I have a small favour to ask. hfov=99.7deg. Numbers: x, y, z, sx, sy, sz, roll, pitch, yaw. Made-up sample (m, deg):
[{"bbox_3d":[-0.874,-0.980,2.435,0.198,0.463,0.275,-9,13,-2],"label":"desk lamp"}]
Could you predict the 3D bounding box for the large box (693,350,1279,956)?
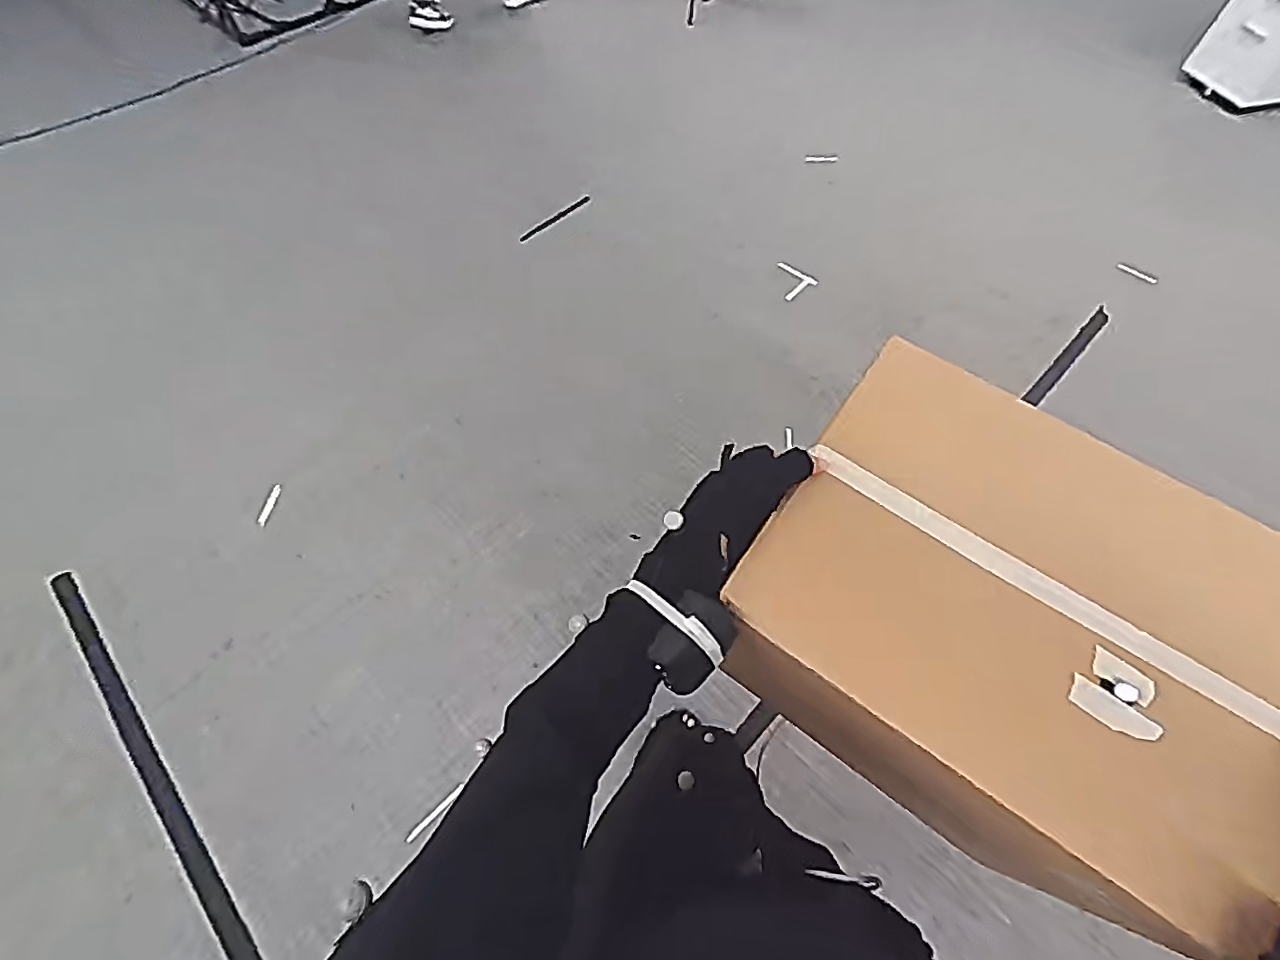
[{"bbox_3d":[0.312,0.145,0.570,0.408,0.320,0.320,34,72,13],"label":"large box"}]
